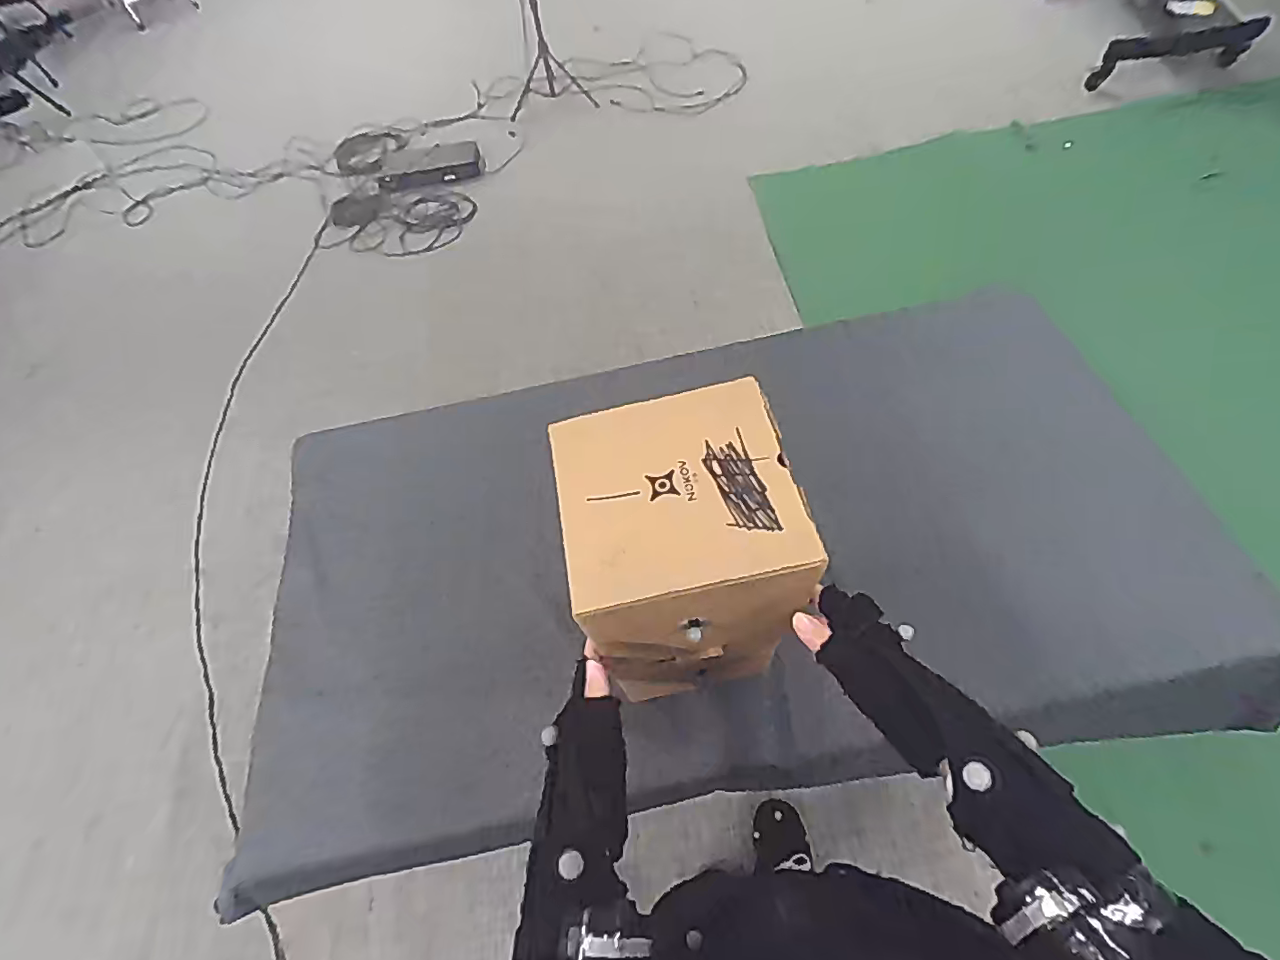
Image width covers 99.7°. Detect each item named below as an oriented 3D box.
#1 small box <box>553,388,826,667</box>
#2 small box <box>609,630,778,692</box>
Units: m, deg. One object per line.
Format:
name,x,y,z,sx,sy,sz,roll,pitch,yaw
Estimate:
small box,0.035,0.050,0.469,0.179,0.176,0.168,-13,59,0
small box,0.044,0.131,0.613,0.168,0.176,0.179,-13,60,-1
